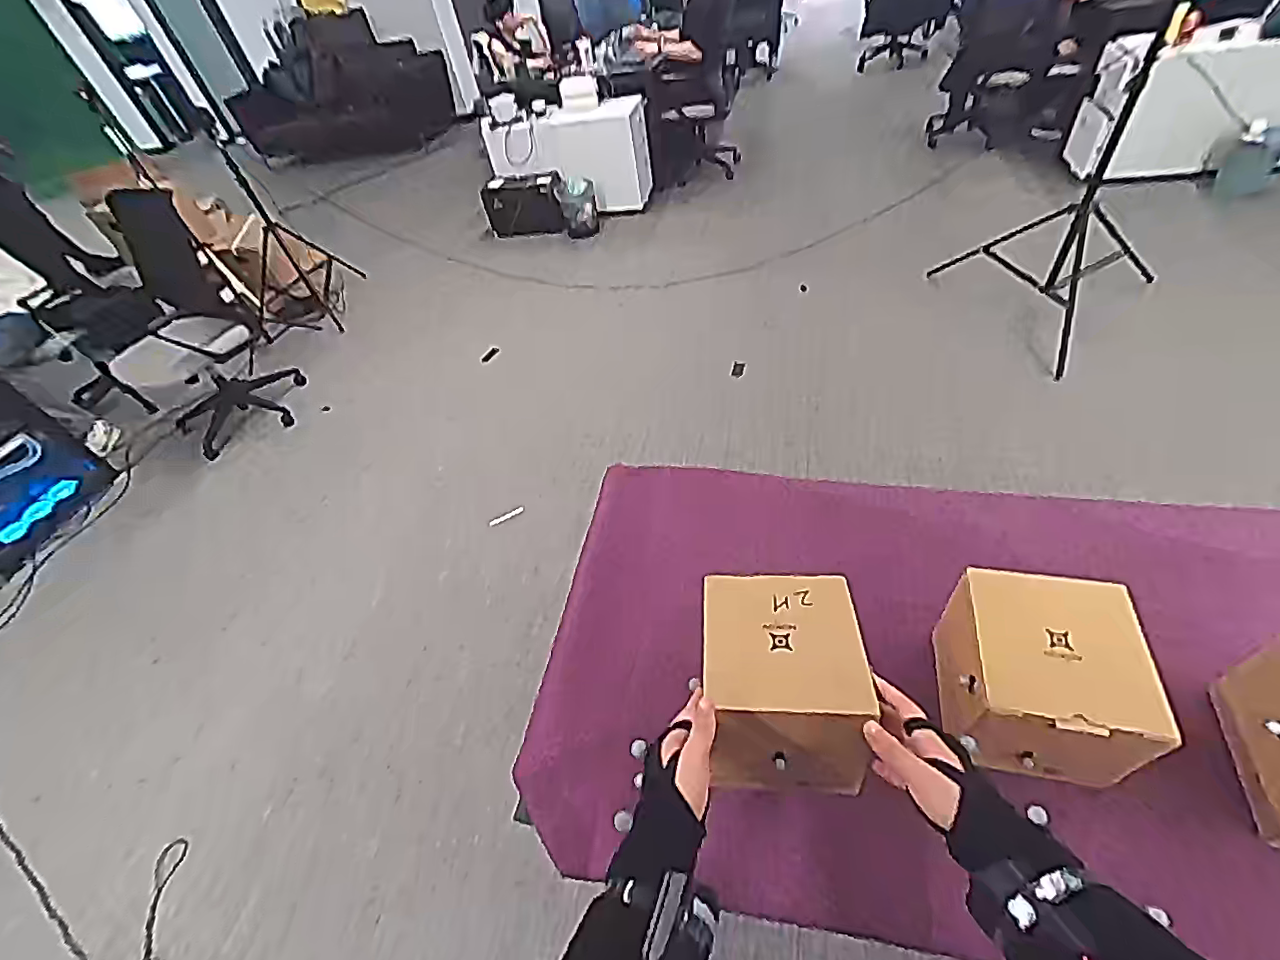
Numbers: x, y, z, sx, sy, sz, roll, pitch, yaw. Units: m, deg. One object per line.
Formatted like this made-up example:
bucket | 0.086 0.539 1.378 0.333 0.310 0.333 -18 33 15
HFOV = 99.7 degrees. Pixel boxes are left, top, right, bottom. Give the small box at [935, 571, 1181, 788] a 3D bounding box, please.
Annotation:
small box | 0.467 0.235 0.644 0.168 0.176 0.179 5 49 16

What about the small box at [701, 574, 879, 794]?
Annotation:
small box | 0.158 0.228 0.615 0.168 0.176 0.179 -1 34 9
